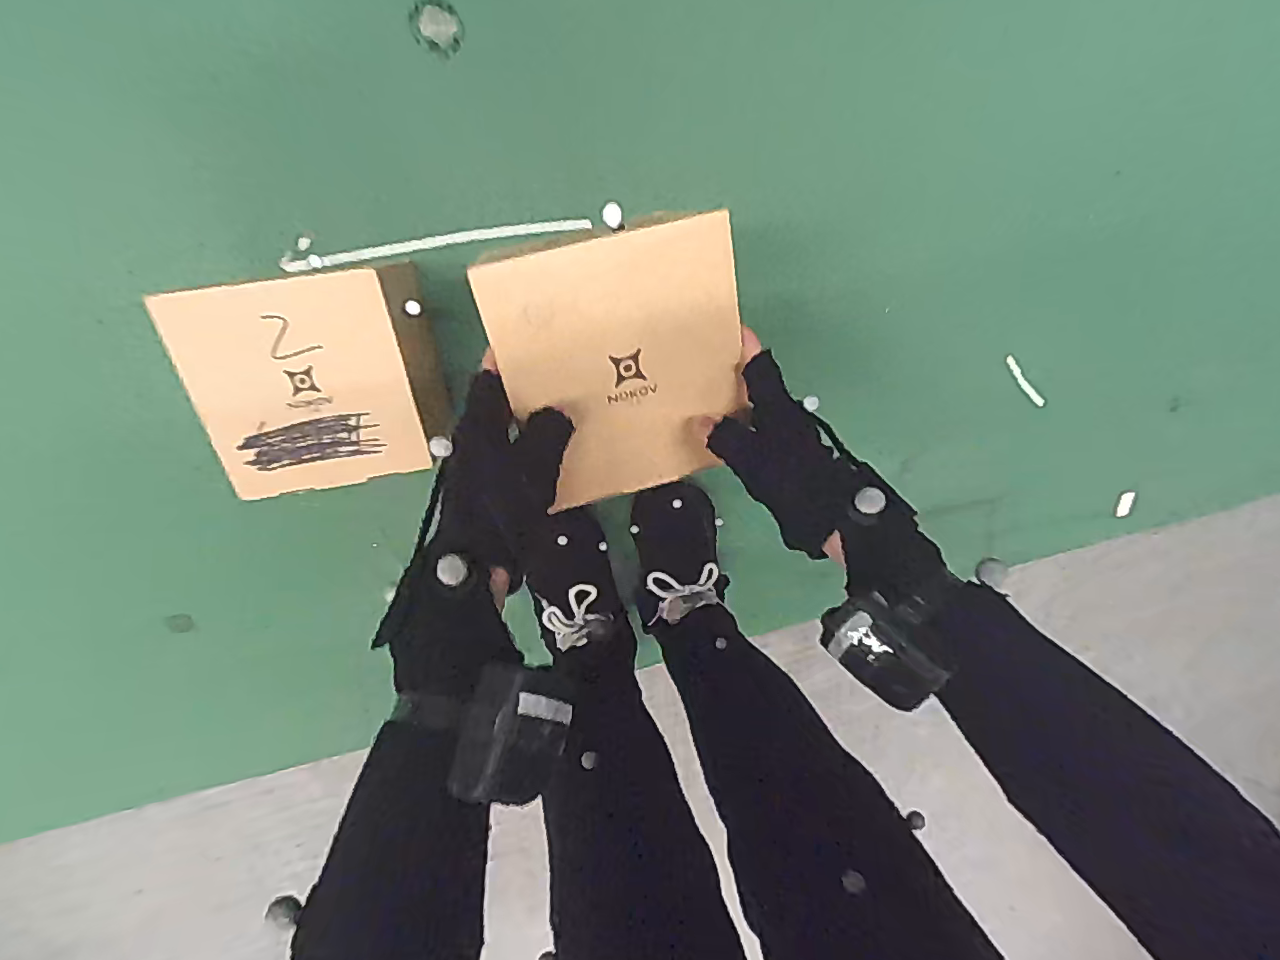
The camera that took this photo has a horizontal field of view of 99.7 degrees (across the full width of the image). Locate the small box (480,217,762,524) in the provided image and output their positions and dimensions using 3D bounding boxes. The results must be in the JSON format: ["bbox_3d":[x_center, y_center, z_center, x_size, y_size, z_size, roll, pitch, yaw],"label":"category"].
[{"bbox_3d":[-0.019,-0.098,0.431,0.168,0.176,0.179,-16,119,-5],"label":"small box"}]
